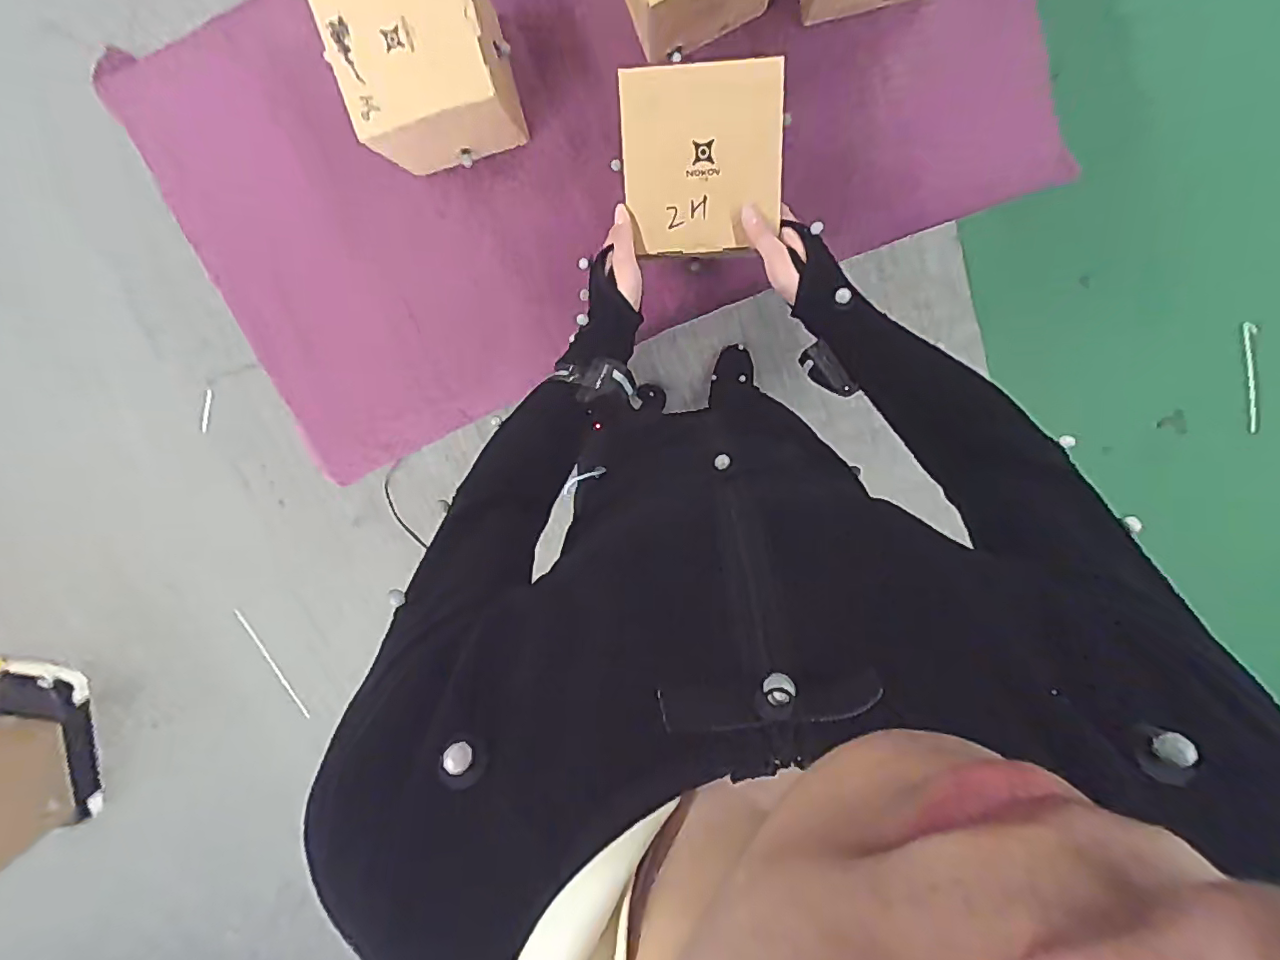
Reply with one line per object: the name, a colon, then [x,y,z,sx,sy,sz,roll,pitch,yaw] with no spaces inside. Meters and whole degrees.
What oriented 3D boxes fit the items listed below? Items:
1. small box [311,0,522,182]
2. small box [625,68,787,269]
small box: [-0.262,-0.506,0.687,0.179,0.176,0.168,-13,105,6]
small box: [0.068,-0.349,0.638,0.168,0.176,0.179,-1,109,3]
